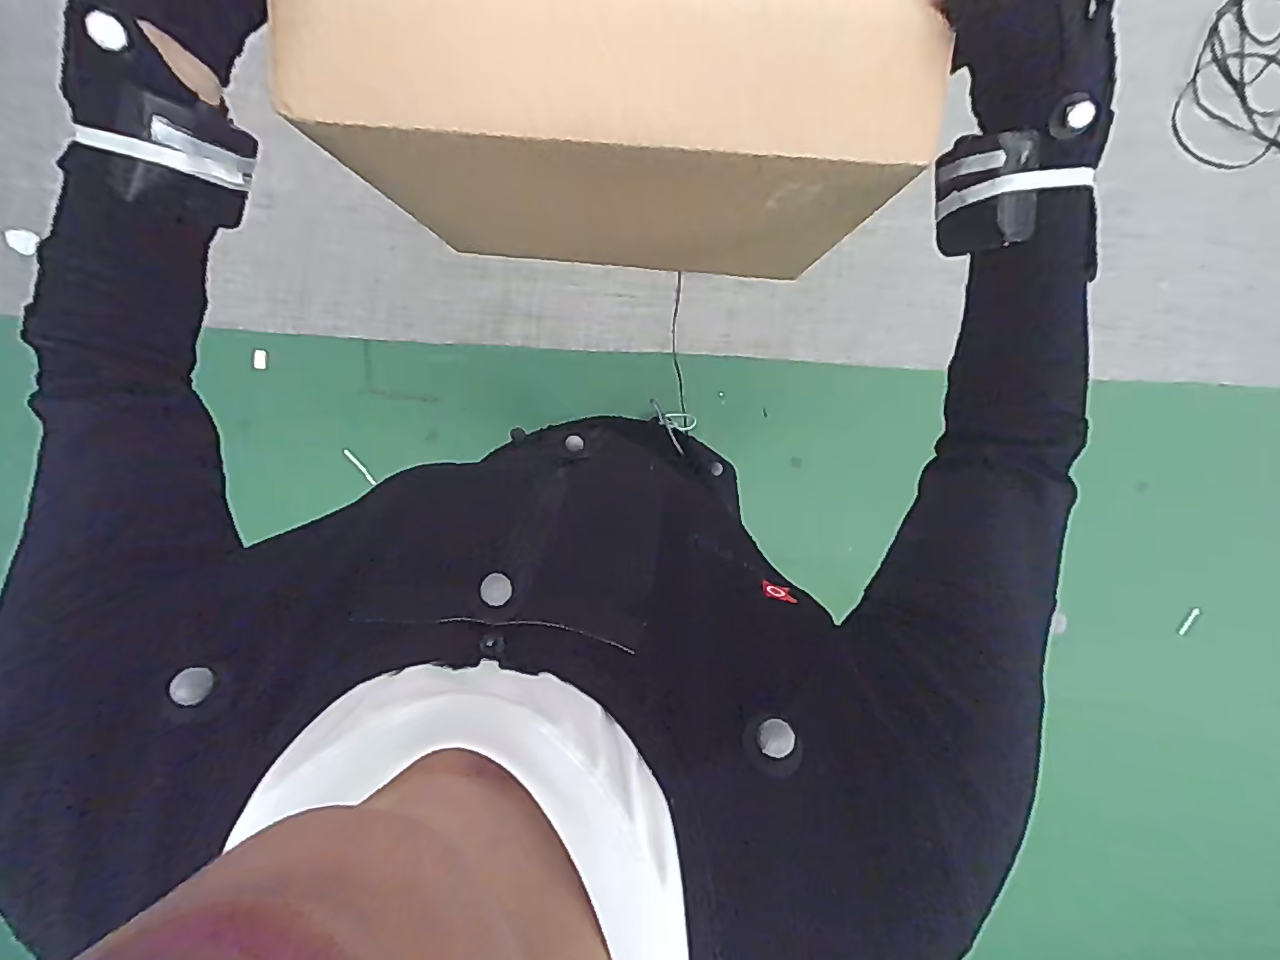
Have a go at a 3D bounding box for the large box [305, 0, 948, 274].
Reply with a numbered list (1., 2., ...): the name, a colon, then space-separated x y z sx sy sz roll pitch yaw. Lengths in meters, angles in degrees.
1. large box: -0.003 -0.383 0.471 0.408 0.320 0.320 4 99 0
